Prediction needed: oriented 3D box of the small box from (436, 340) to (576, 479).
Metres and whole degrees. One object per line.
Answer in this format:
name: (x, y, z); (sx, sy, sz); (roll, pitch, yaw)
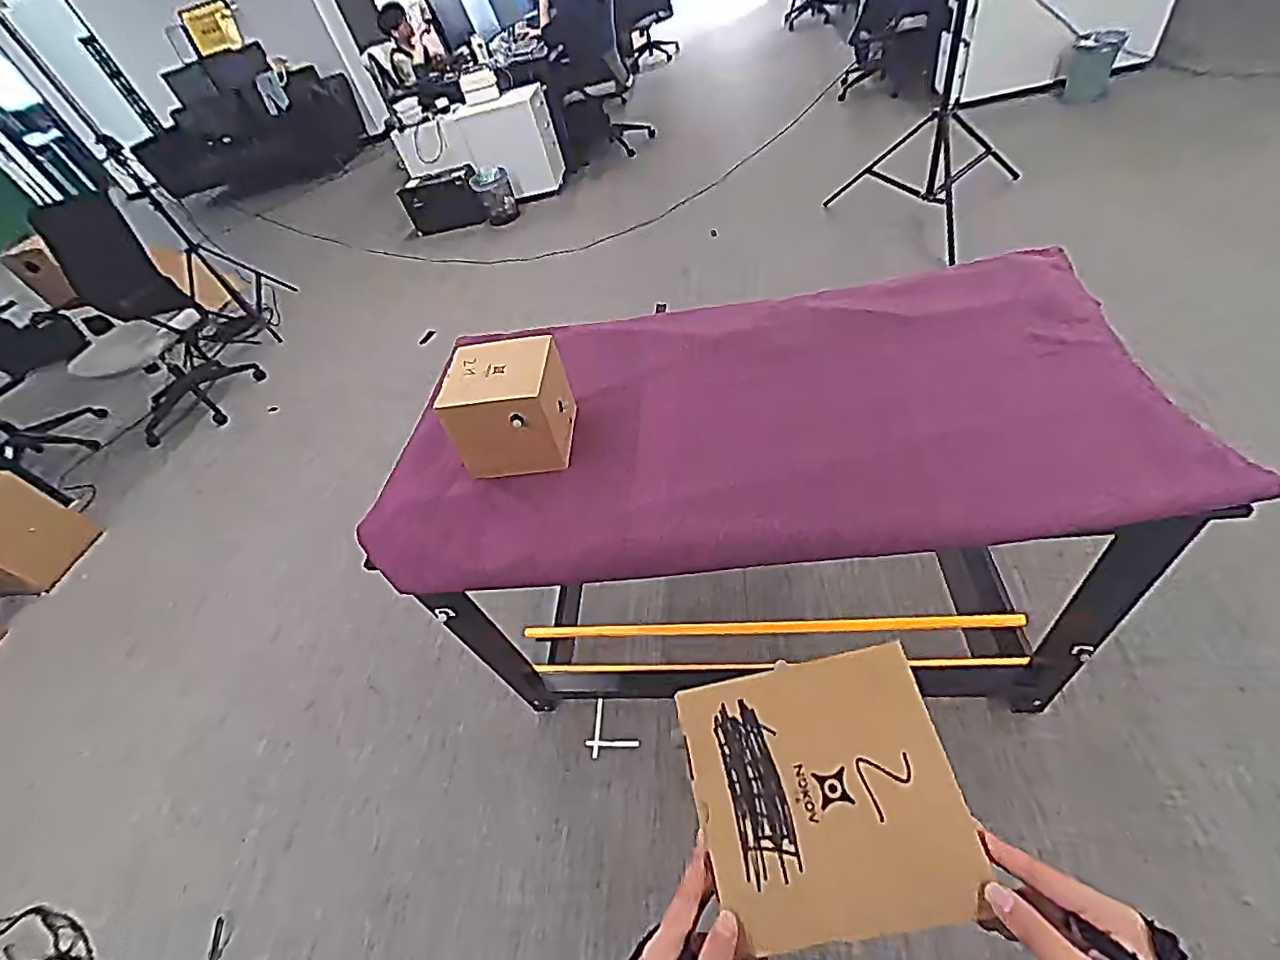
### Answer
small box: (-0.219, -0.118, 0.944); (0.179, 0.176, 0.168); (-6, 47, 9)
